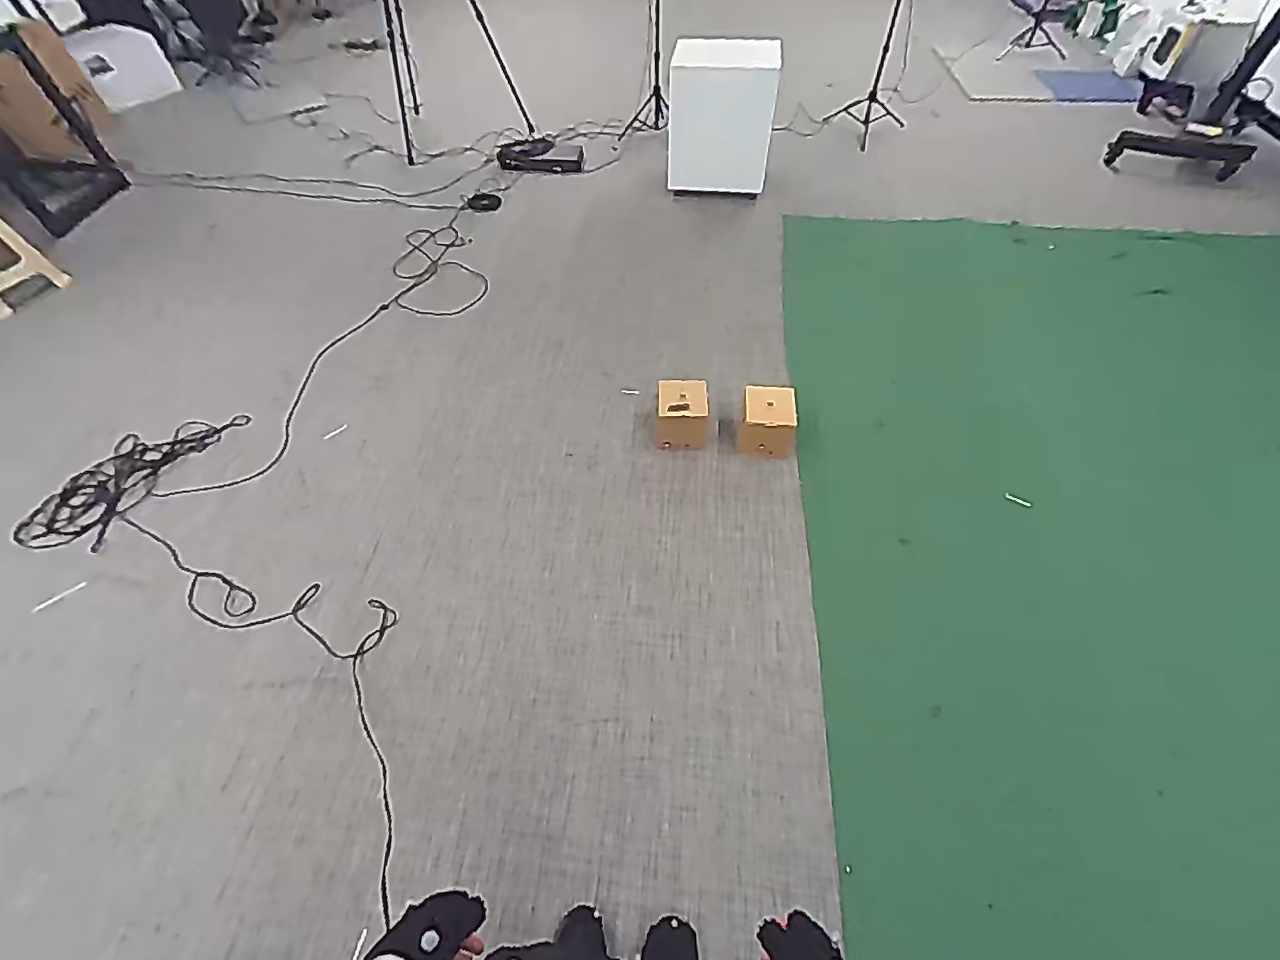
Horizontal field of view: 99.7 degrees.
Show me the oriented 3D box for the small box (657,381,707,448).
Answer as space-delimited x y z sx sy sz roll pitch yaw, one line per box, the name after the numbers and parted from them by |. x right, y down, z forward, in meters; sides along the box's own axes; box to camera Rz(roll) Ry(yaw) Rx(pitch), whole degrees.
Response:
0.145 -0.227 1.894 0.168 0.176 0.179 1 52 1 | small box

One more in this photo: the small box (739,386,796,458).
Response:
0.436 -0.200 1.872 0.168 0.176 0.179 4 54 4 | small box
